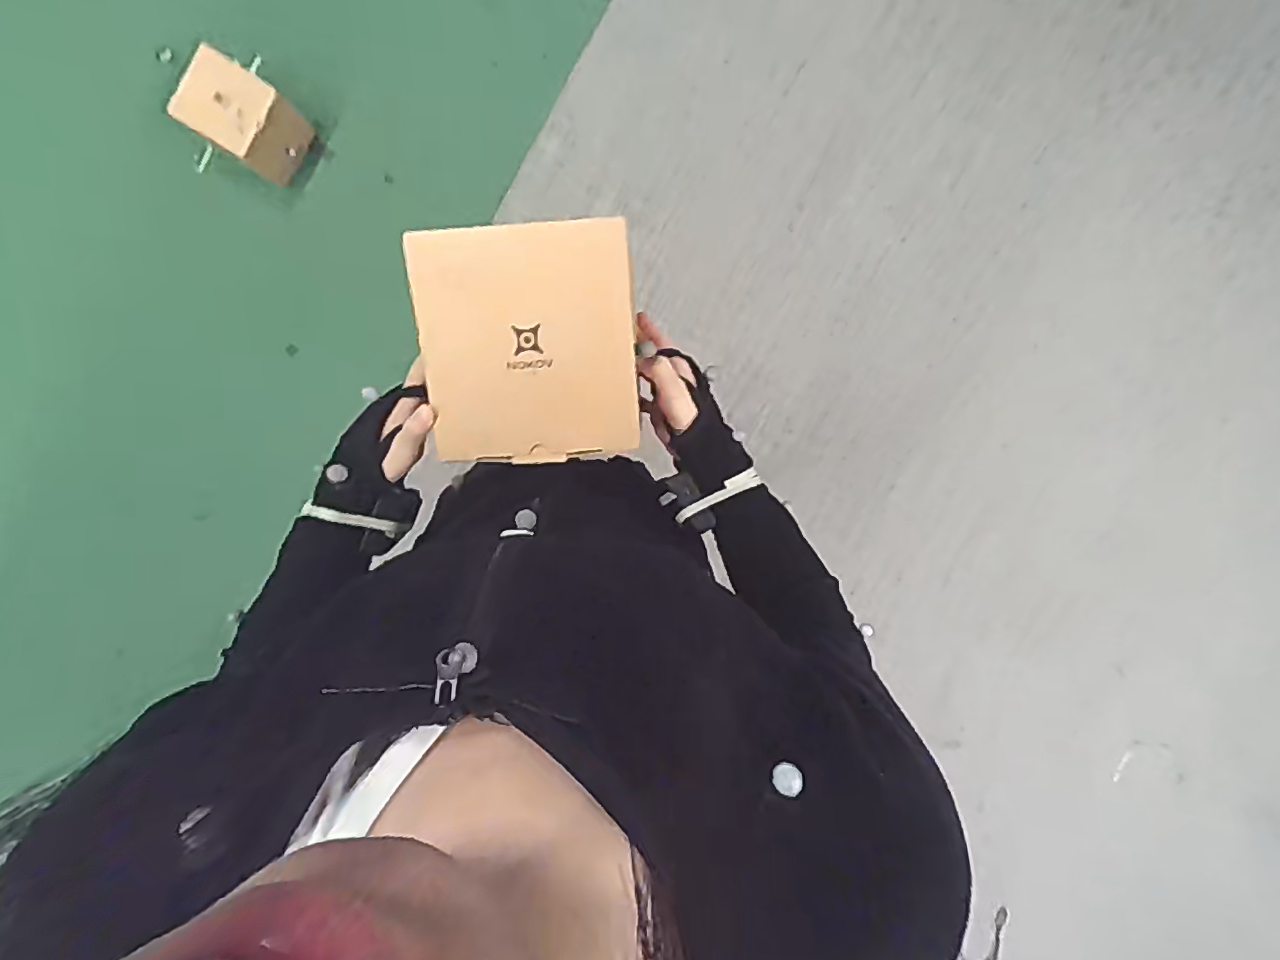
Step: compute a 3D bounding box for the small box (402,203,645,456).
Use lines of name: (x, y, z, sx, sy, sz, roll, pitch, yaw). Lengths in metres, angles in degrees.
small box: (-0.085, -0.127, 0.479, 0.168, 0.176, 0.179, -4, 105, -1)

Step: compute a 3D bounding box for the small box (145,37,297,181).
small box: (-0.923, -0.813, 1.210, 0.179, 0.176, 0.168, 30, 92, -9)
